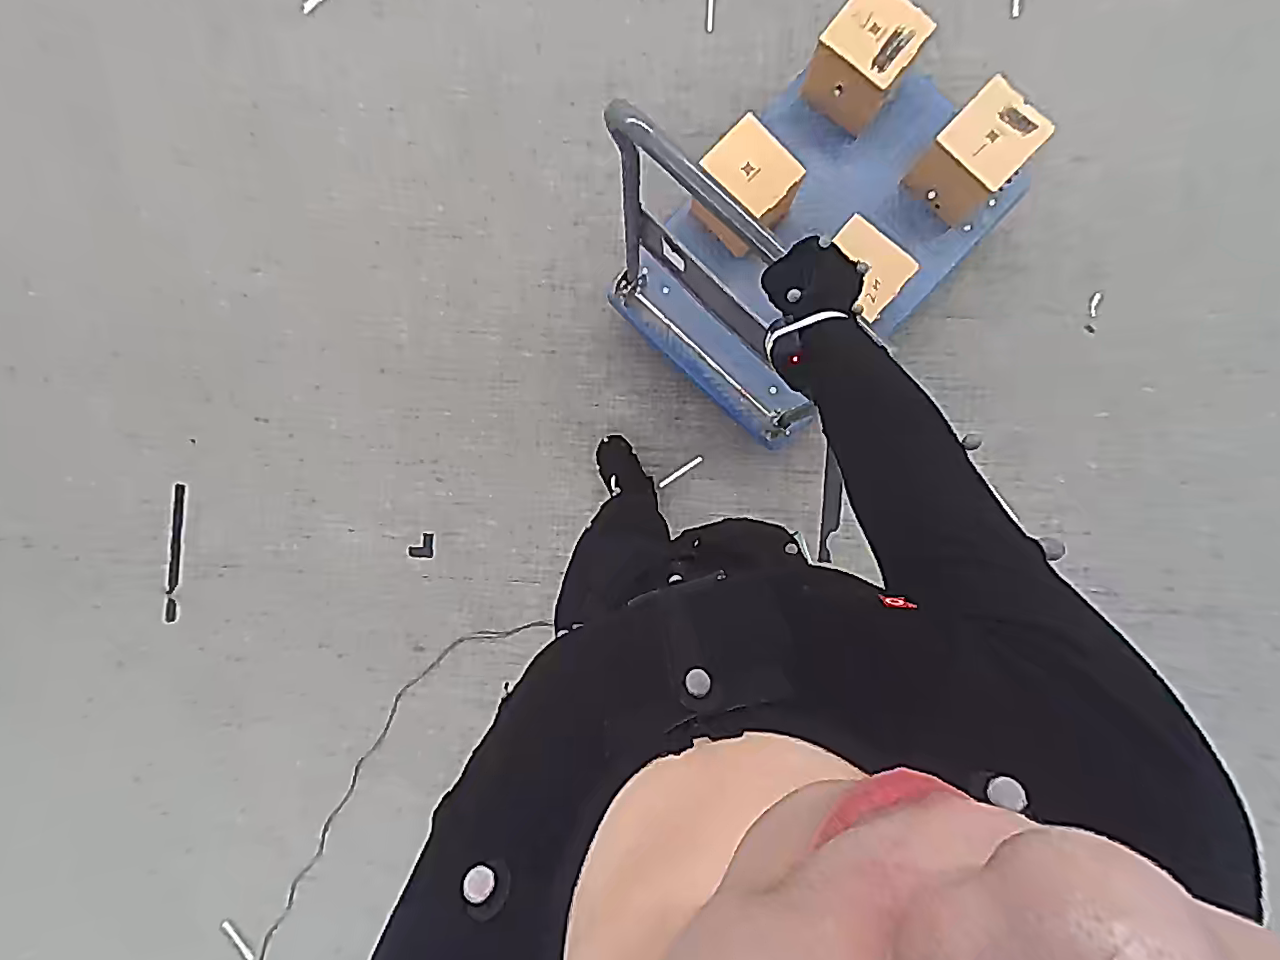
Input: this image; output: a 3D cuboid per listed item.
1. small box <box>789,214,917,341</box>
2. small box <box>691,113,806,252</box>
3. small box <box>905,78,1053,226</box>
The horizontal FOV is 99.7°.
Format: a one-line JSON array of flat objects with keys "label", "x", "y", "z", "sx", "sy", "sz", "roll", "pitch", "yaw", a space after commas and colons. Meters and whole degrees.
[{"label": "small box", "x": 0.456, "y": -0.434, "z": 1.192, "sx": 0.179, "sy": 0.176, "sz": 0.168, "roll": 41, "pitch": 93, "yaw": 1}, {"label": "small box", "x": 0.229, "y": -0.644, "z": 1.198, "sx": 0.168, "sy": 0.176, "sz": 0.179, "roll": -44, "pitch": 91, "yaw": 2}, {"label": "small box", "x": 0.721, "y": -0.700, "z": 1.175, "sx": 0.168, "sy": 0.176, "sz": 0.179, "roll": 44, "pitch": 94, "yaw": 1}]
